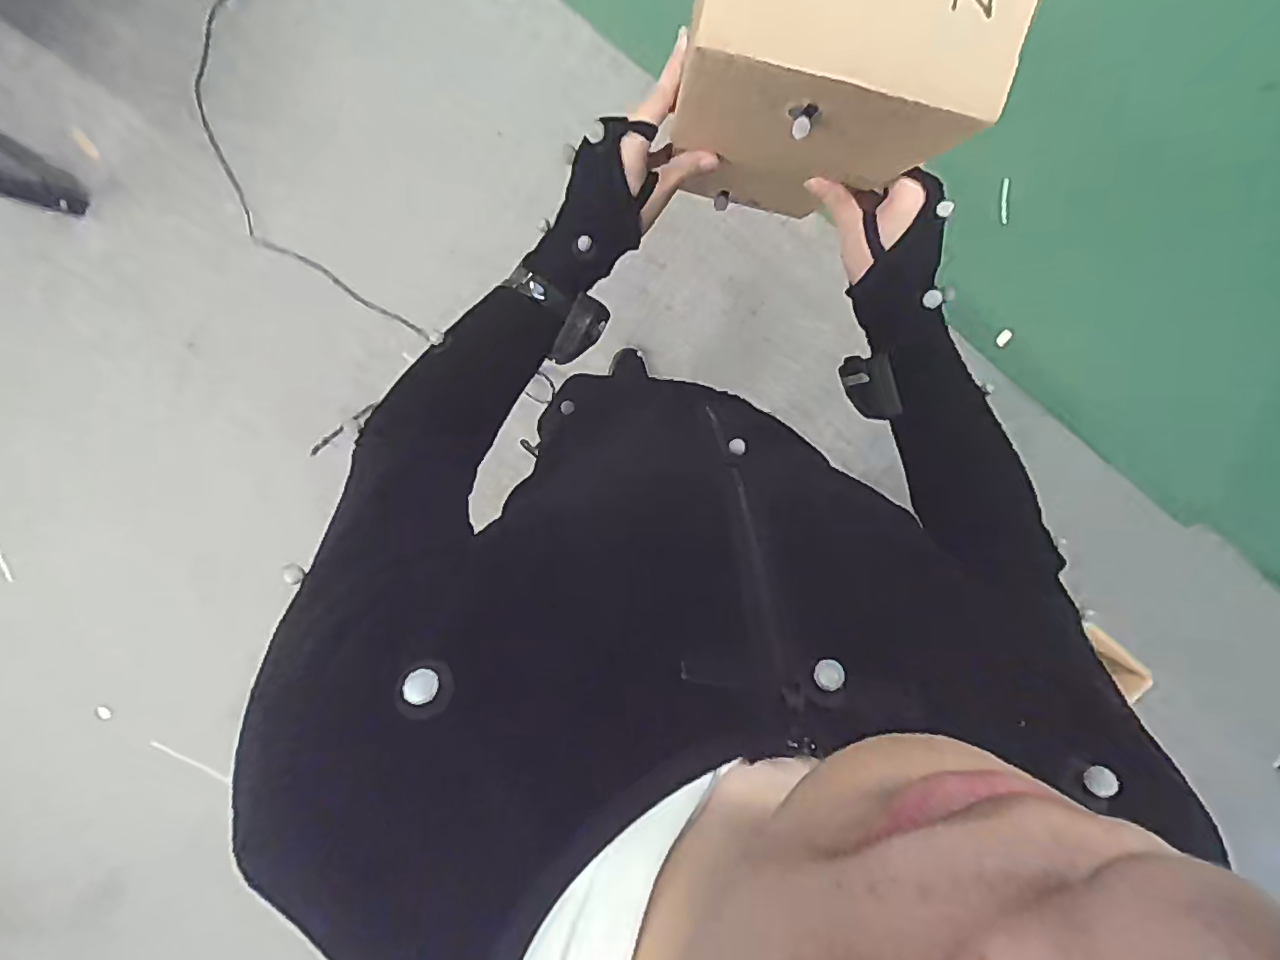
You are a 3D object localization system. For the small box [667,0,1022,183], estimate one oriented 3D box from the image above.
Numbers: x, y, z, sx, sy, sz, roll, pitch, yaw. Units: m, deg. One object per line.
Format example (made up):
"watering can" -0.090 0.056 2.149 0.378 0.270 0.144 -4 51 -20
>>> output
"small box" 0.119 -0.311 0.345 0.179 0.176 0.168 10 106 -4

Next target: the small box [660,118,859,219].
"small box" 0.115 -0.363 0.502 0.168 0.176 0.179 10 107 -5
